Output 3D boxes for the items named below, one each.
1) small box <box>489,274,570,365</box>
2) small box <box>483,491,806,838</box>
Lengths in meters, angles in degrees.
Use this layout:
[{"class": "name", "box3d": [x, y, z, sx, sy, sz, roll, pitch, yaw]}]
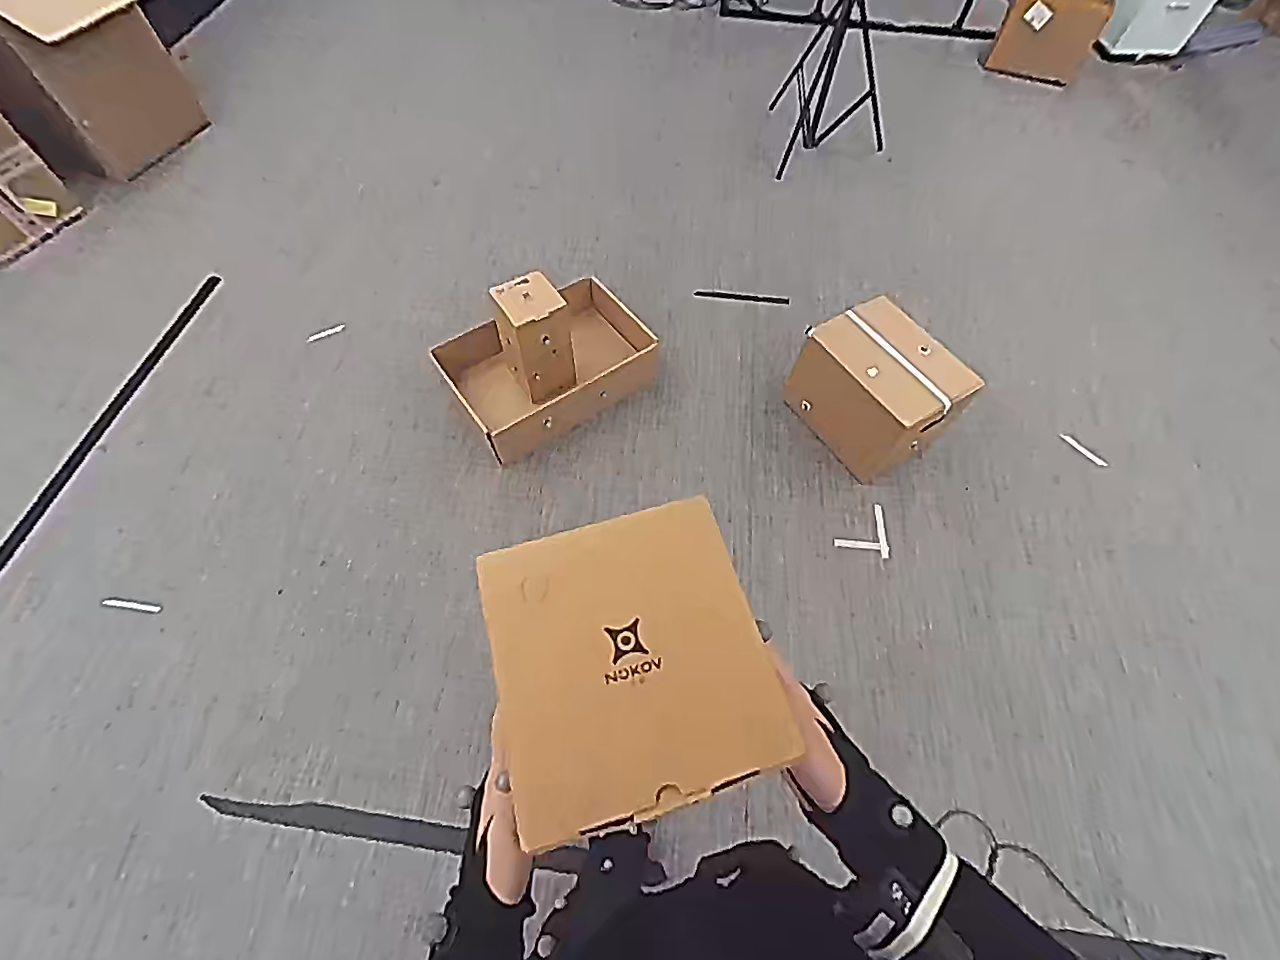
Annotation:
[{"class": "small box", "box3d": [-0.318, -0.463, 1.589, 0.168, 0.176, 0.179, -28, 65, -18]}, {"class": "small box", "box3d": [-0.007, 0.136, 0.405, 0.168, 0.176, 0.179, -15, 64, -8]}]
